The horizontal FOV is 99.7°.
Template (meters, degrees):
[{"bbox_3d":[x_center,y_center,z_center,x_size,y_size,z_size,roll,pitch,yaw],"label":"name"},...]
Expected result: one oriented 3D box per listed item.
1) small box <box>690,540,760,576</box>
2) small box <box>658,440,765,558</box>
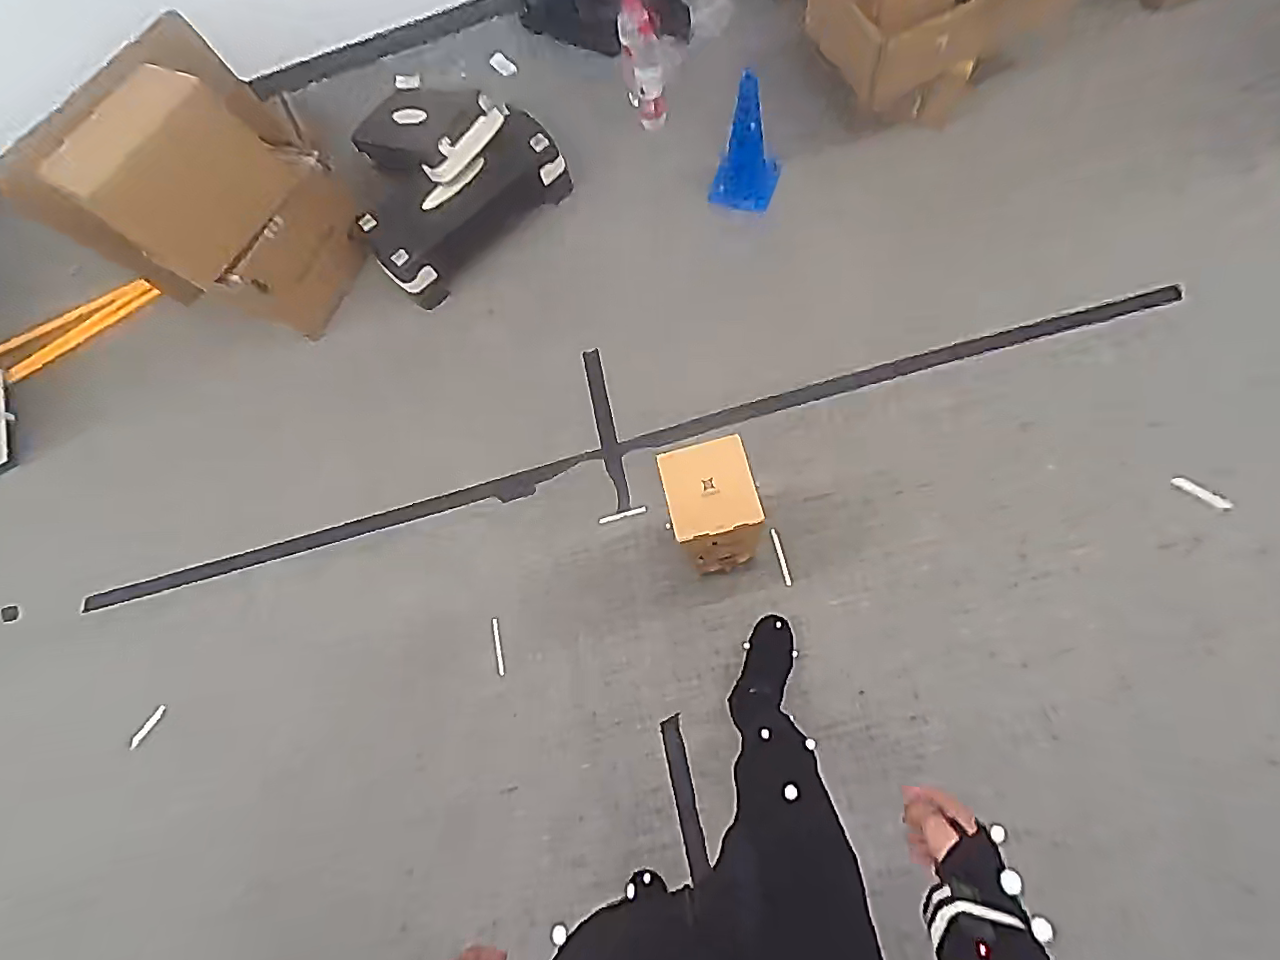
[{"bbox_3d":[0.196,0.137,1.386,0.168,0.176,0.179,-18,73,4],"label":"small box"},{"bbox_3d":[0.139,0.044,1.076,0.168,0.176,0.179,-14,73,4],"label":"small box"}]
